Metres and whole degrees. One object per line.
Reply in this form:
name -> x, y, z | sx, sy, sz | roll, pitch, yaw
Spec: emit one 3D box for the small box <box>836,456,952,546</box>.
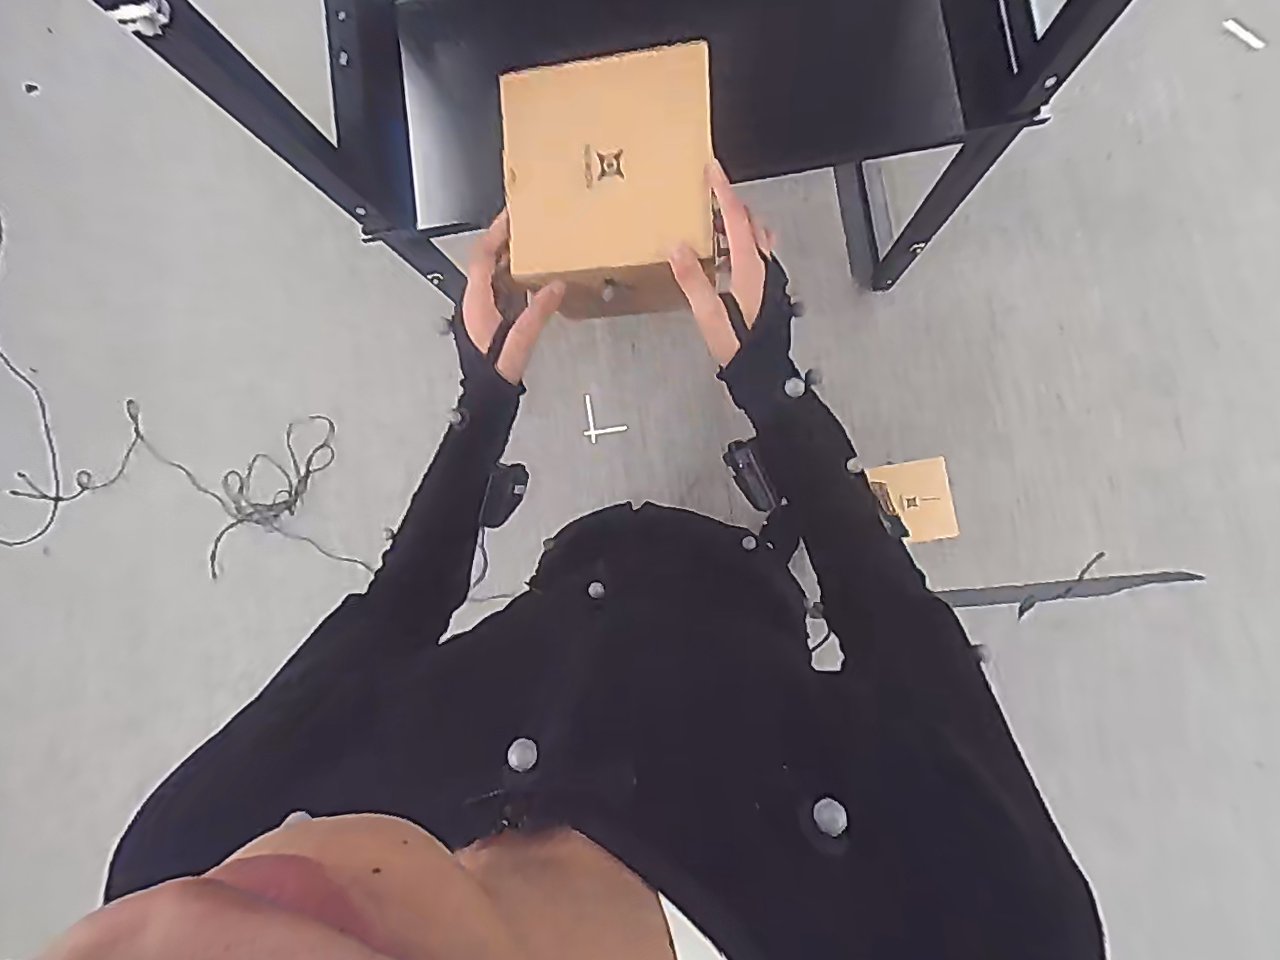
small box -> 0.540, 0.048, 1.179 | 0.179, 0.176, 0.168 | -9, 87, 5
